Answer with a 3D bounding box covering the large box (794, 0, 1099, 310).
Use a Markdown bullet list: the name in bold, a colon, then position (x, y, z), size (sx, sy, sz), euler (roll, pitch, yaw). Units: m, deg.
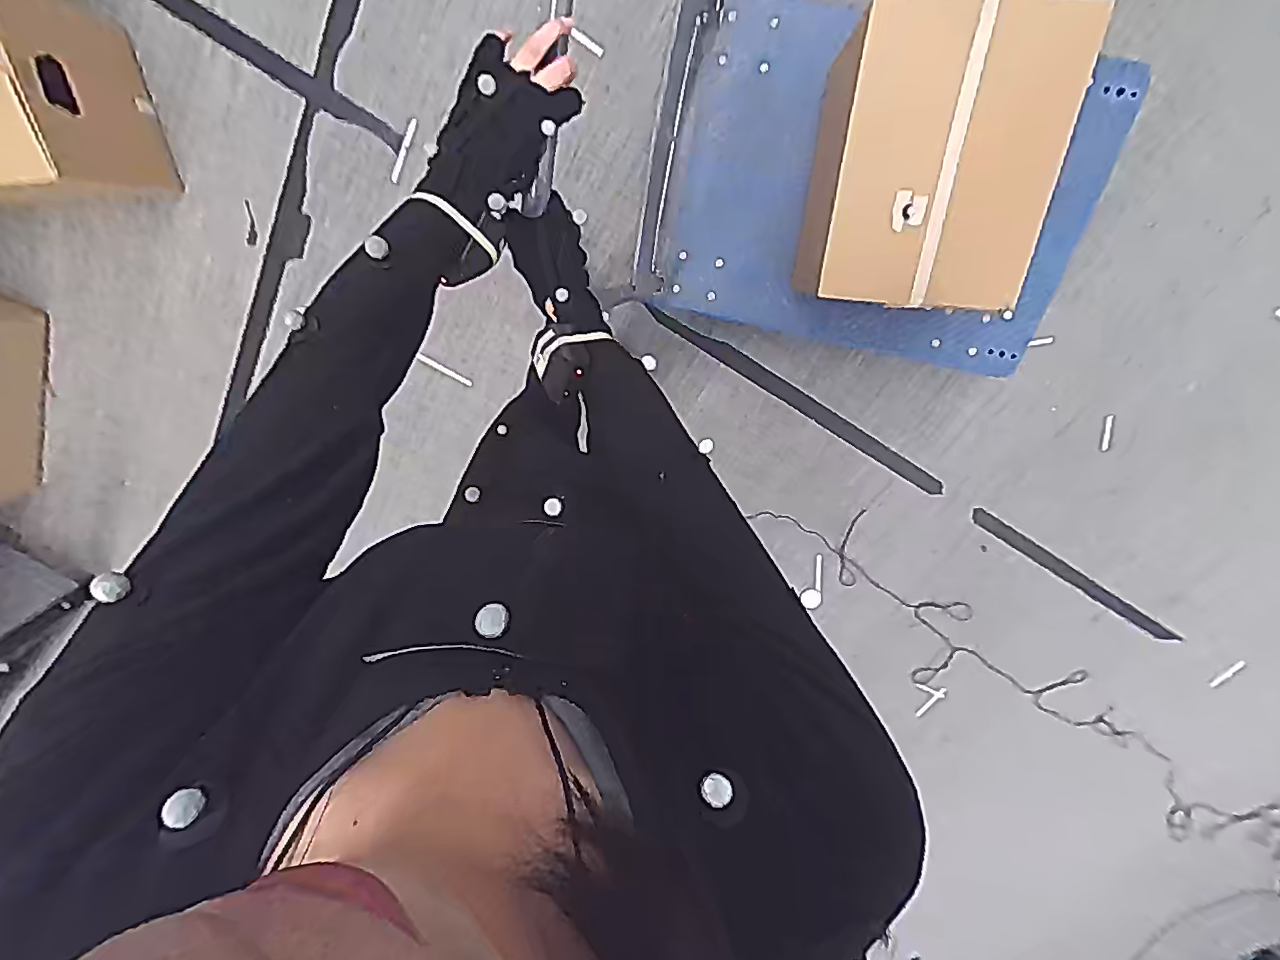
- **large box**: position (0.474, -0.528, 0.946), size (0.320, 0.320, 0.408), euler (6, 113, 6)
